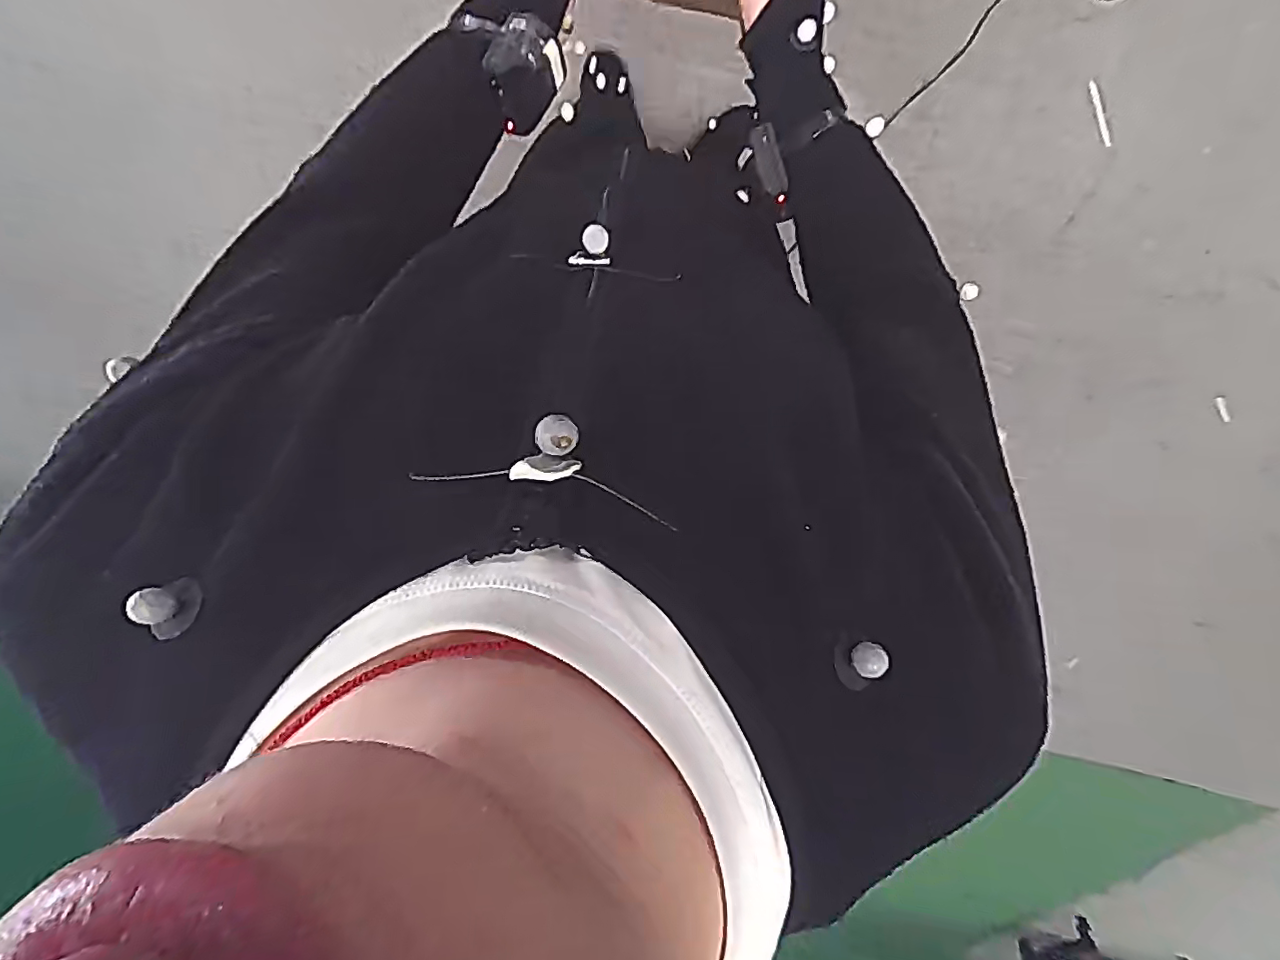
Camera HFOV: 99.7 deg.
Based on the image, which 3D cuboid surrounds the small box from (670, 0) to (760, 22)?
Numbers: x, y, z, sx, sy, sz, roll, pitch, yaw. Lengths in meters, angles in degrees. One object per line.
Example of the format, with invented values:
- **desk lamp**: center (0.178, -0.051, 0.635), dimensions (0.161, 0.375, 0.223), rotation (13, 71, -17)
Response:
- **small box**: center (0.051, -0.536, 0.466), dimensions (0.179, 0.176, 0.168), rotation (15, 120, -4)
